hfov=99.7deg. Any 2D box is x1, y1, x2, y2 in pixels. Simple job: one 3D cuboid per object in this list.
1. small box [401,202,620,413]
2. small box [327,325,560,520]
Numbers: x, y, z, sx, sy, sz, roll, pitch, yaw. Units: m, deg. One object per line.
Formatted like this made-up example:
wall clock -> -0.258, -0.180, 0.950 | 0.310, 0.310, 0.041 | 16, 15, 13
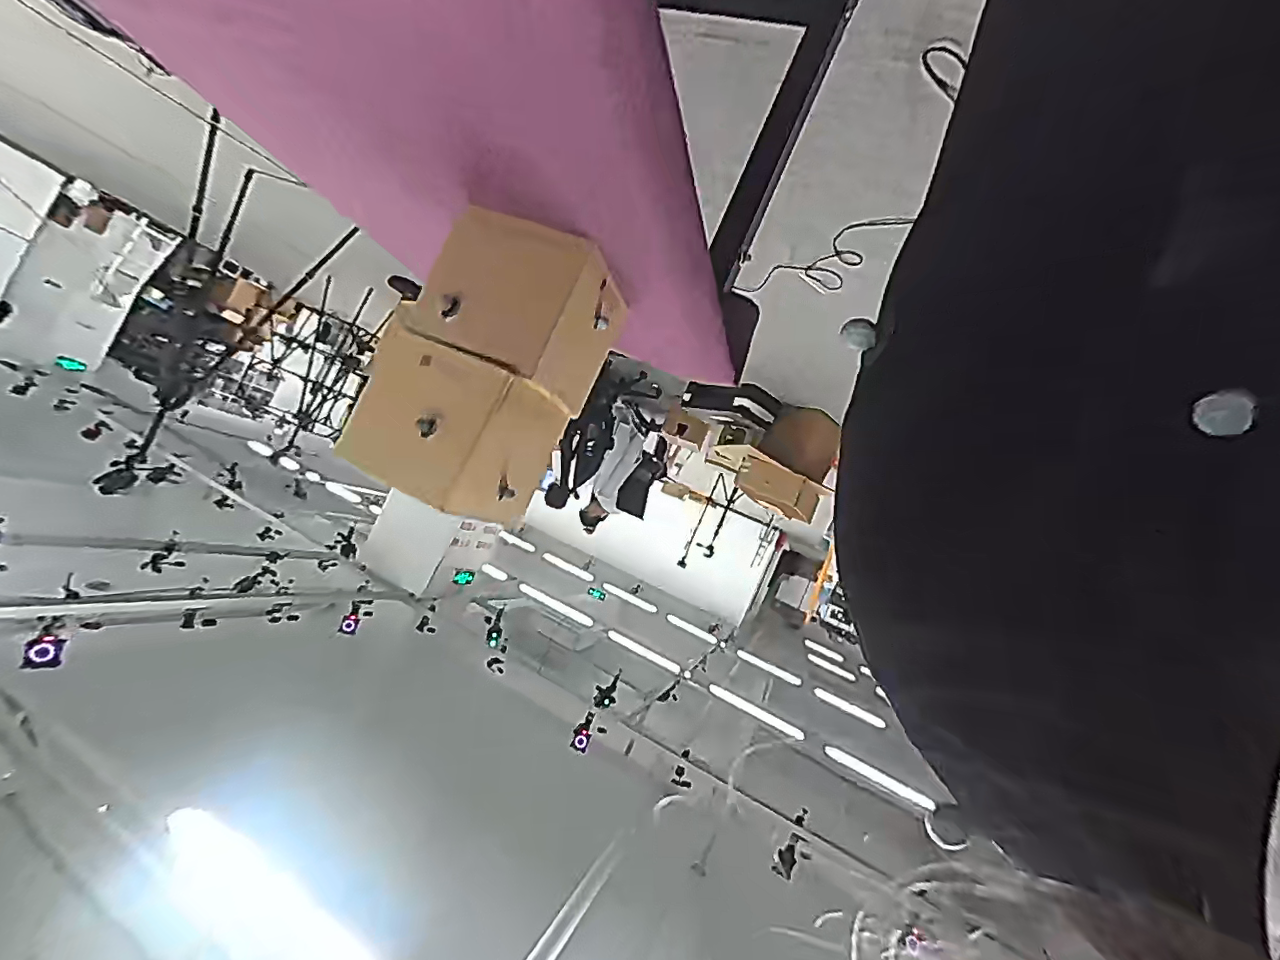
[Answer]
small box -> -0.148, -0.209, 0.671 | 0.179, 0.176, 0.168 | 23, 177, 12
small box -> -0.225, -0.065, 0.660 | 0.168, 0.176, 0.179 | 23, 177, 16
